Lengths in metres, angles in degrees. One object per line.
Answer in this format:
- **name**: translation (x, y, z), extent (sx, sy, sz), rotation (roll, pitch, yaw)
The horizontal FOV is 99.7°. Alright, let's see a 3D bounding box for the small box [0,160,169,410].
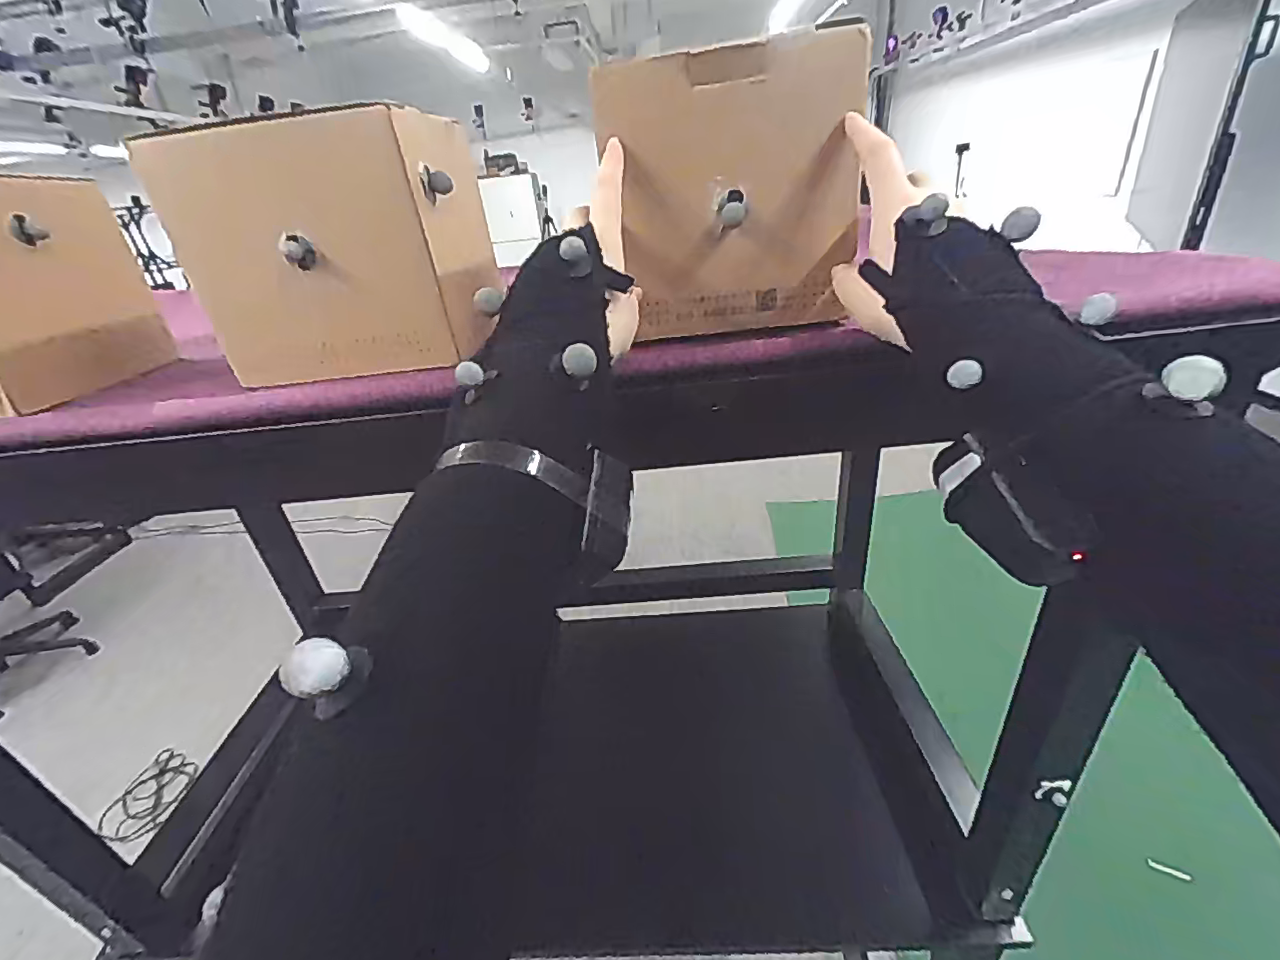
- **small box**: translation (-0.549, -0.160, 0.447), extent (0.168, 0.176, 0.179), rotation (-6, 28, 0)

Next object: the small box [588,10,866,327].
- **small box**: translation (0.063, -0.221, 0.421), extent (0.168, 0.176, 0.179), rotation (-5, 27, 5)
